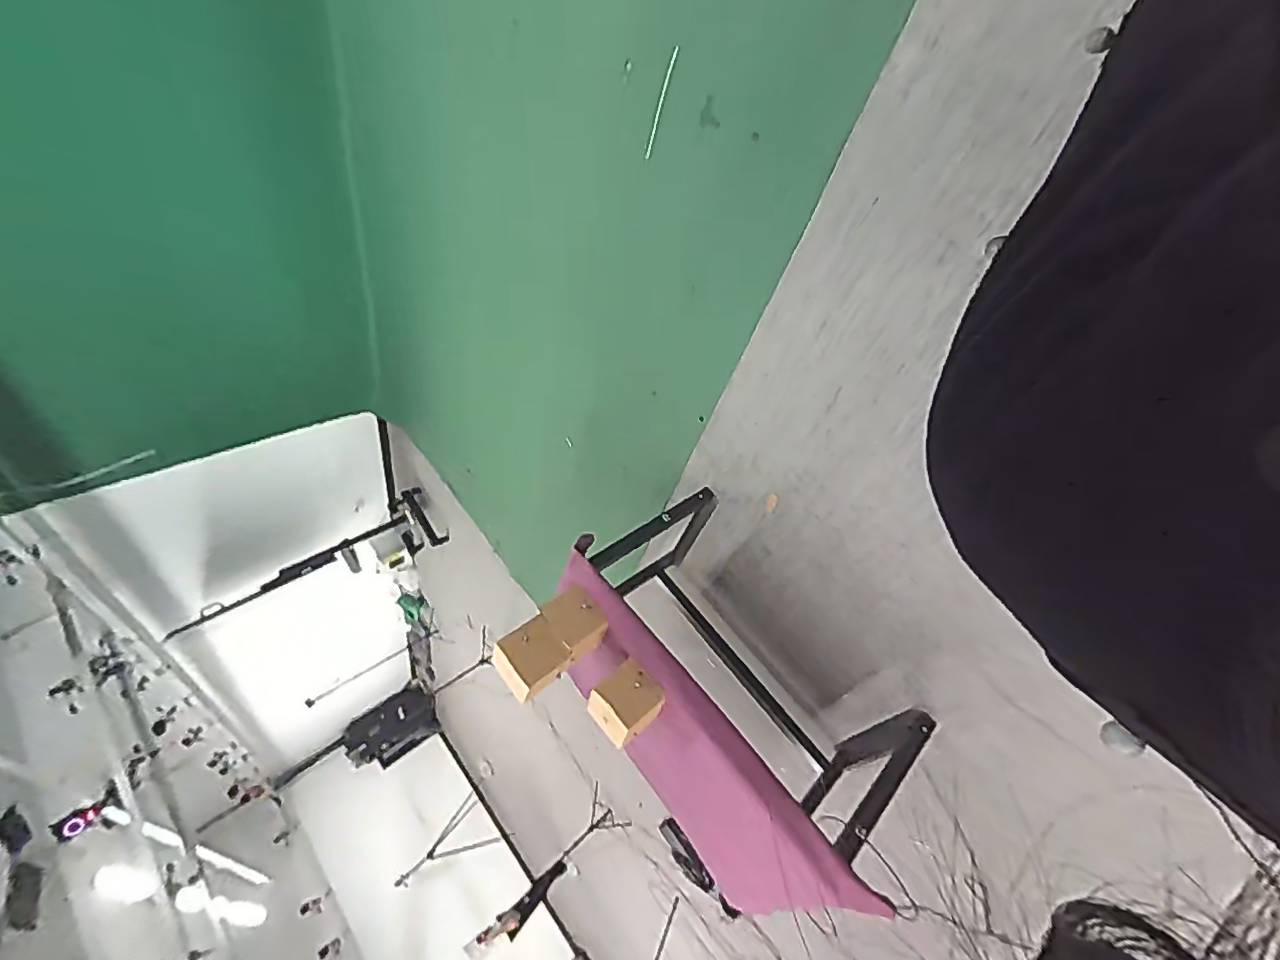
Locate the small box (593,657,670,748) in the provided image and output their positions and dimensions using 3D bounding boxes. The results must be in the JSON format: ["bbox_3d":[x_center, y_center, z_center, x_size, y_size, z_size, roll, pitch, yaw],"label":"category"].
[{"bbox_3d":[-0.027,0.698,1.705,0.168,0.176,0.179,42,140,25],"label":"small box"}]

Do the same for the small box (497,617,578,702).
[{"bbox_3d":[-0.322,0.554,1.697,0.179,0.176,0.168,47,142,18],"label":"small box"}]

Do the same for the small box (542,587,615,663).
[{"bbox_3d":[-0.210,0.480,1.791,0.179,0.176,0.168,44,141,23],"label":"small box"}]
